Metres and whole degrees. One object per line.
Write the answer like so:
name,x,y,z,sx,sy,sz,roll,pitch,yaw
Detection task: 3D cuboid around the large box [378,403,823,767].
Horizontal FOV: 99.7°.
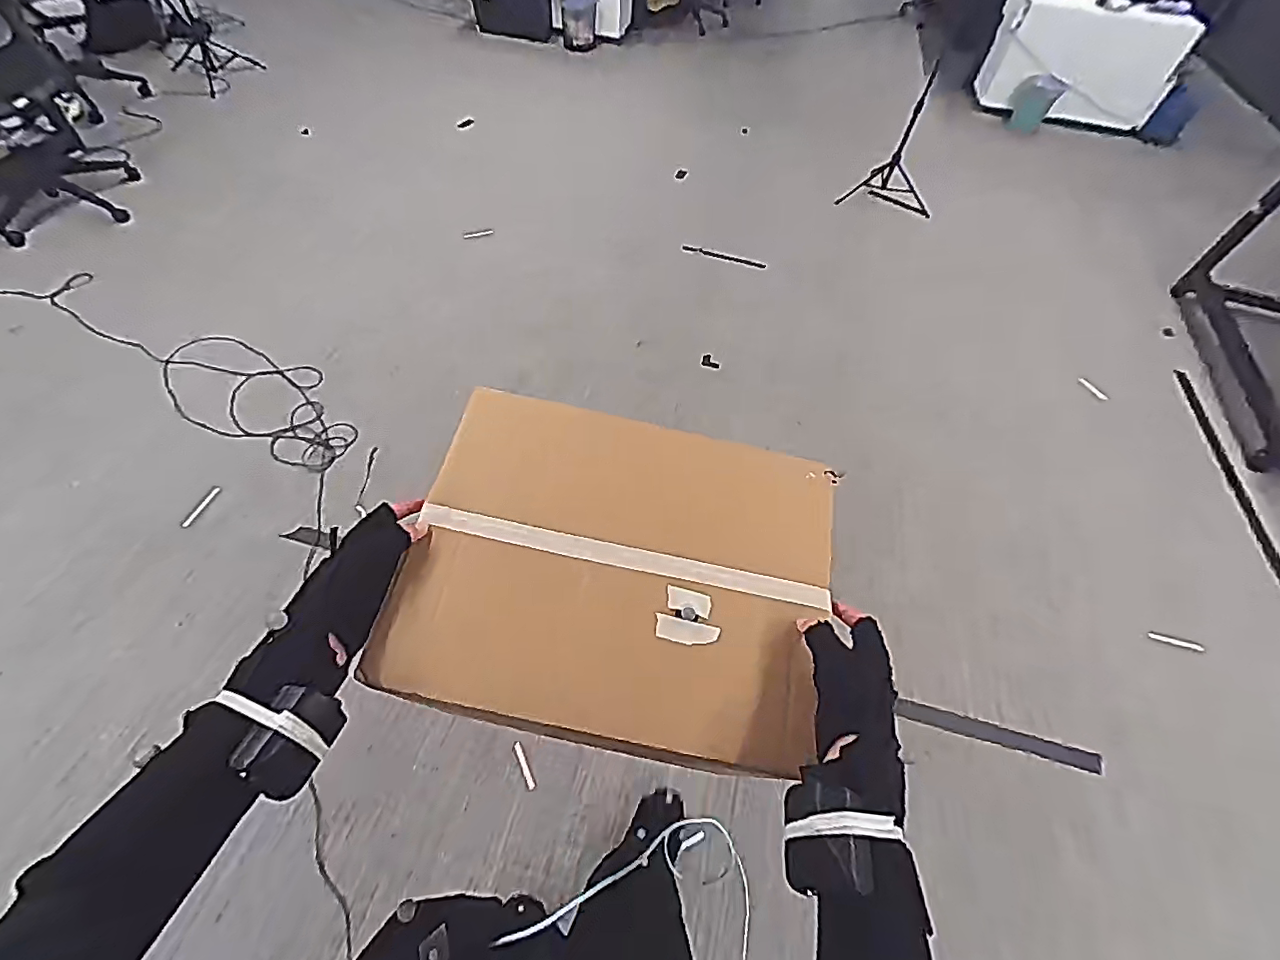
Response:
large box,-0.029,0.150,0.672,0.408,0.320,0.320,13,62,-1
